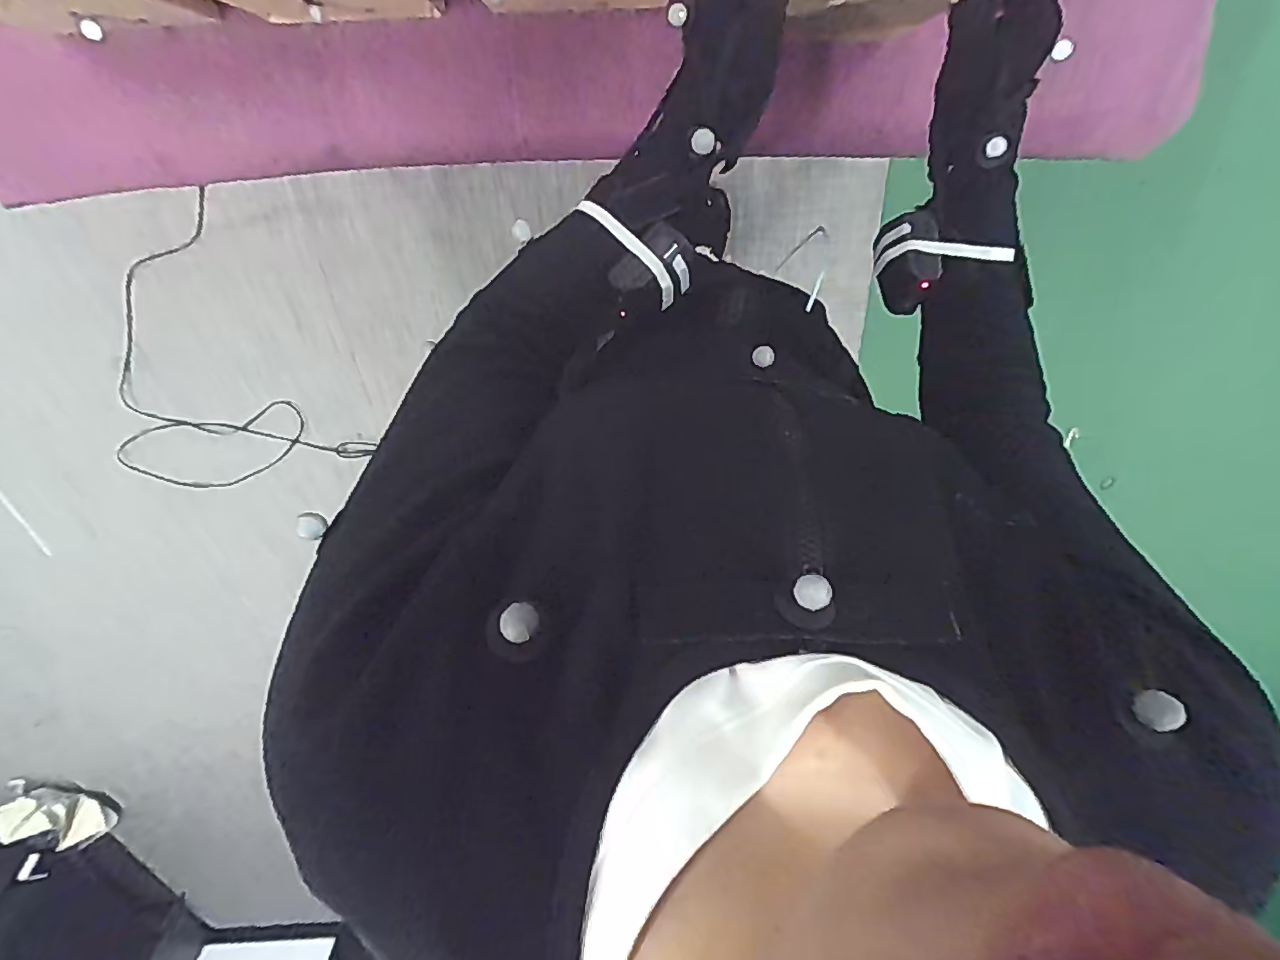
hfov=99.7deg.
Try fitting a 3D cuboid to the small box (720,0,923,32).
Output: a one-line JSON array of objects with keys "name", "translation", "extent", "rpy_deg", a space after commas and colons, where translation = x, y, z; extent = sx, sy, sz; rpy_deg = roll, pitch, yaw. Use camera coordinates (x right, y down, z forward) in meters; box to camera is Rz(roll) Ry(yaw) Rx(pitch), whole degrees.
[{"name": "small box", "translation": [0.154, -0.461, 0.402], "extent": [0.168, 0.176, 0.179], "rpy_deg": [1, 119, -2]}]
